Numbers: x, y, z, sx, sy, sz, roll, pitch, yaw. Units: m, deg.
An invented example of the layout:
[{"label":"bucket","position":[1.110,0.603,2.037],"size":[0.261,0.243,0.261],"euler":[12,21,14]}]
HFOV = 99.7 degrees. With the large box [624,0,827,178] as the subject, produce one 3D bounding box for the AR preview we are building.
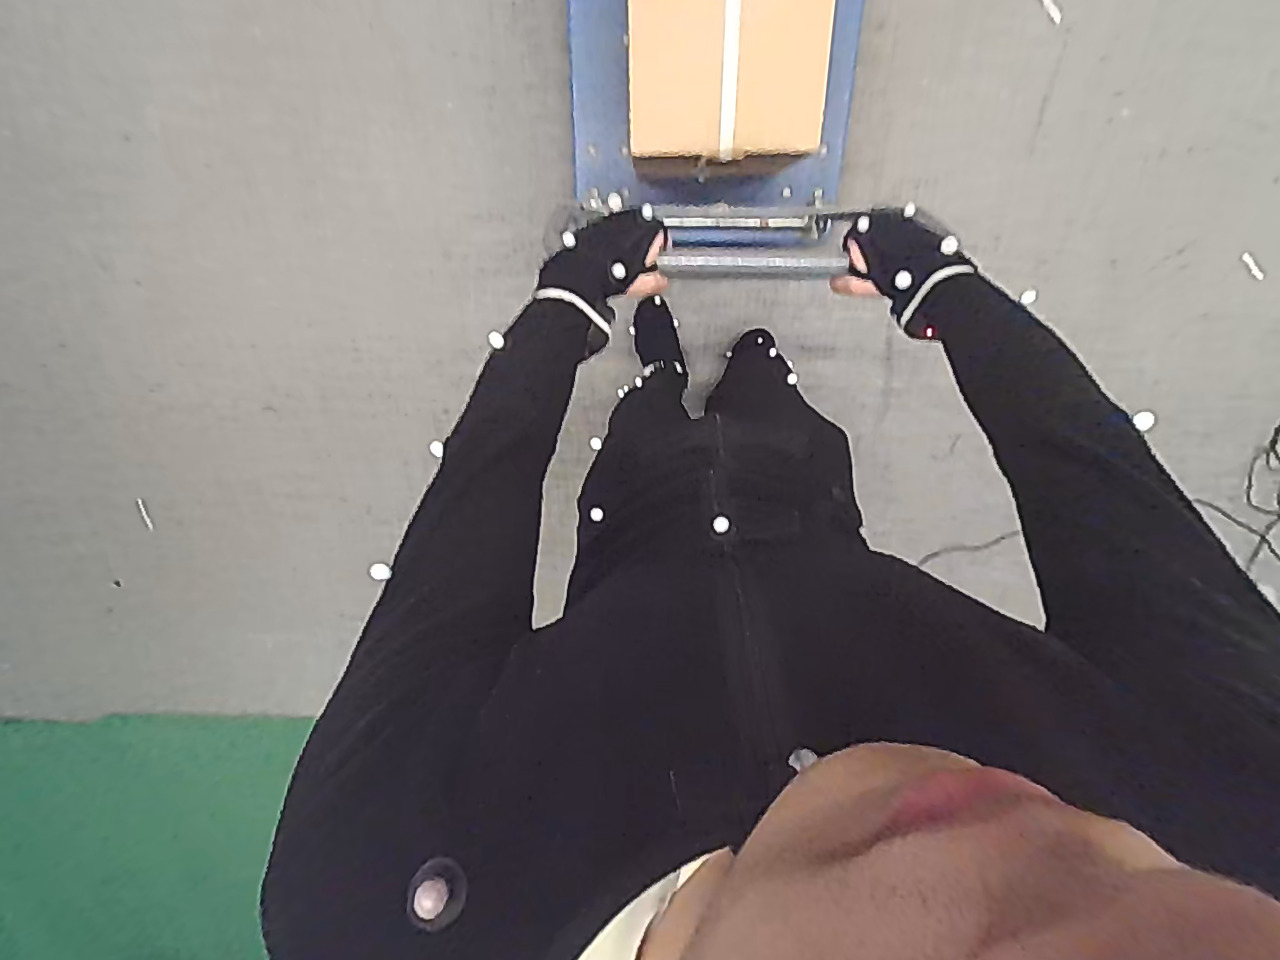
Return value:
[{"label":"large box","position":[0.136,-0.784,0.956],"size":[0.320,0.320,0.408],"euler":[0,113,2]}]
